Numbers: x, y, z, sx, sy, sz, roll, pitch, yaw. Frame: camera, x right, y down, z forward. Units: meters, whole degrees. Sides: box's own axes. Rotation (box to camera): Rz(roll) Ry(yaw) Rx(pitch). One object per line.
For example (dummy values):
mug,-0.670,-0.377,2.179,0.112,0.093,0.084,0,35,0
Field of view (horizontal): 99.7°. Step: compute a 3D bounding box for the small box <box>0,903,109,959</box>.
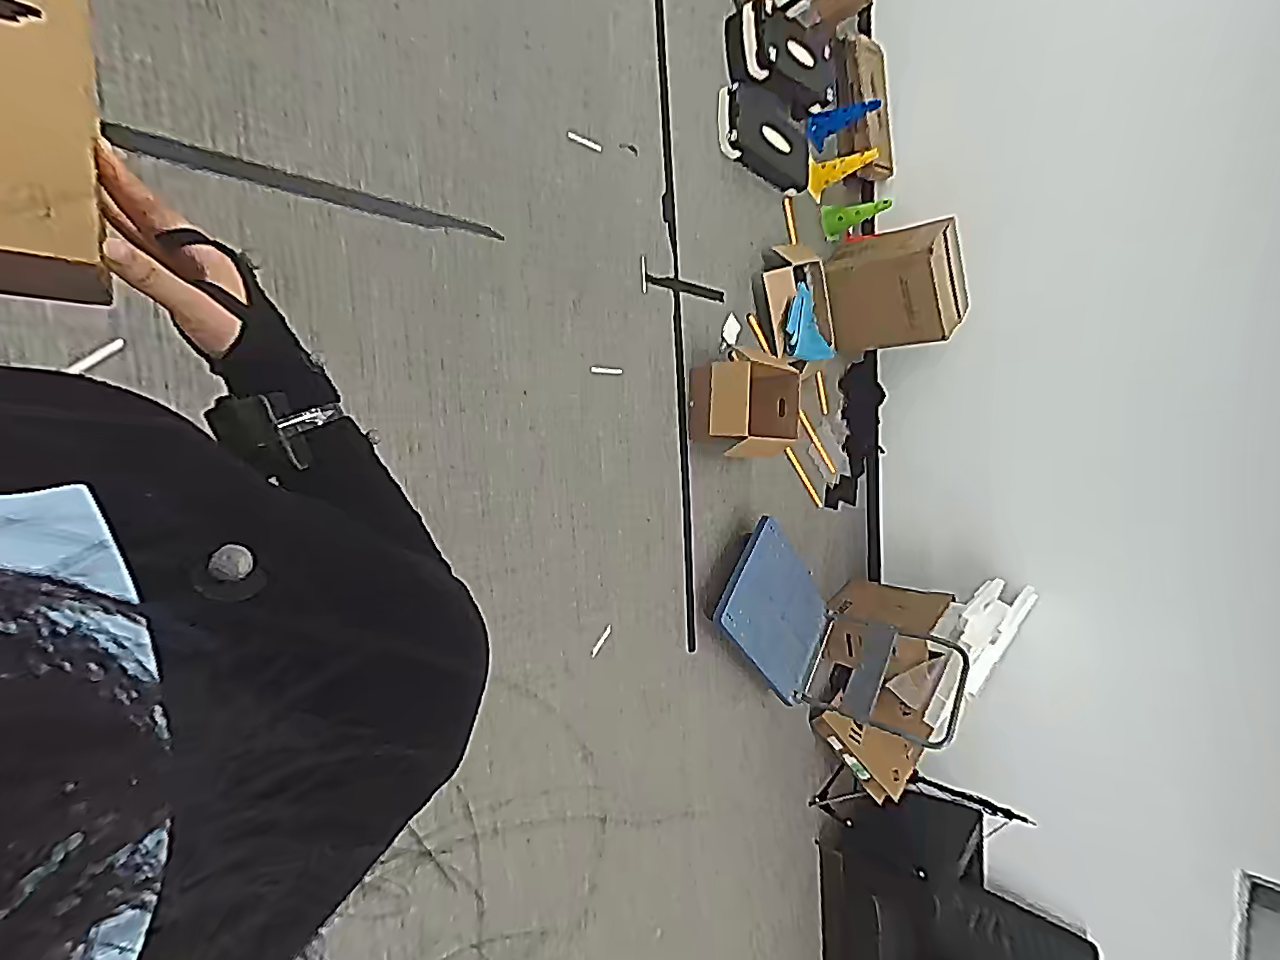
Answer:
small box,-1.087,0.935,0.979,0.168,0.176,0.179,-15,102,-44
